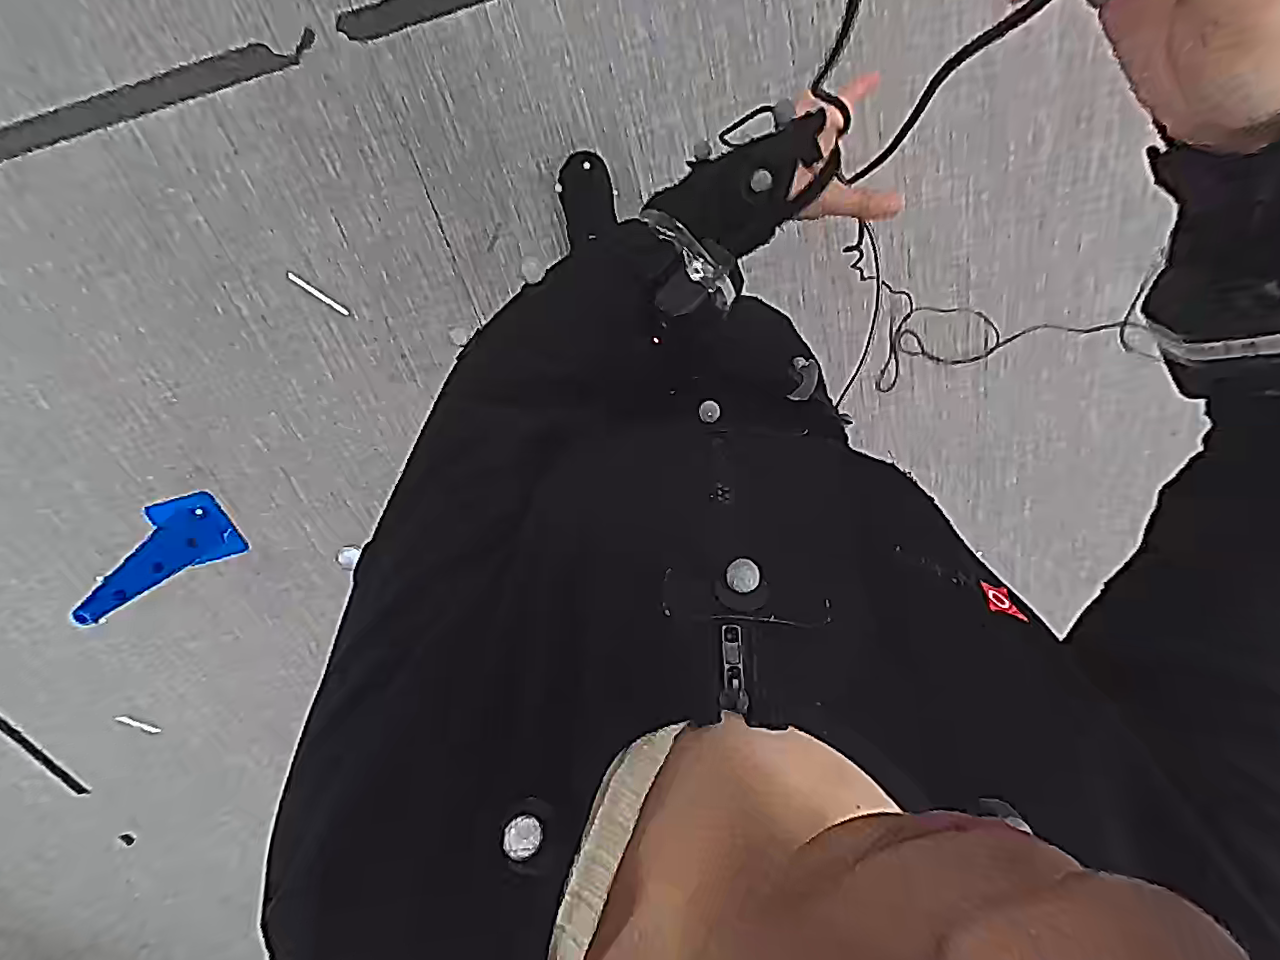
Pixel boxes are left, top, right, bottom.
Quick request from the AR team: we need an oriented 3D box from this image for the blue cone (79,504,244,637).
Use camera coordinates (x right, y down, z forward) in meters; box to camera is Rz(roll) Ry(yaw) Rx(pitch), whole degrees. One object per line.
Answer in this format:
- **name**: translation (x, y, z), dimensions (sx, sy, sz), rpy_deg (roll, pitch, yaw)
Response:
- **blue cone**: translation (-1.195, 0.230, 1.319), dimensions (0.193, 0.380, 0.192), rpy_deg (-14, 117, 5)
